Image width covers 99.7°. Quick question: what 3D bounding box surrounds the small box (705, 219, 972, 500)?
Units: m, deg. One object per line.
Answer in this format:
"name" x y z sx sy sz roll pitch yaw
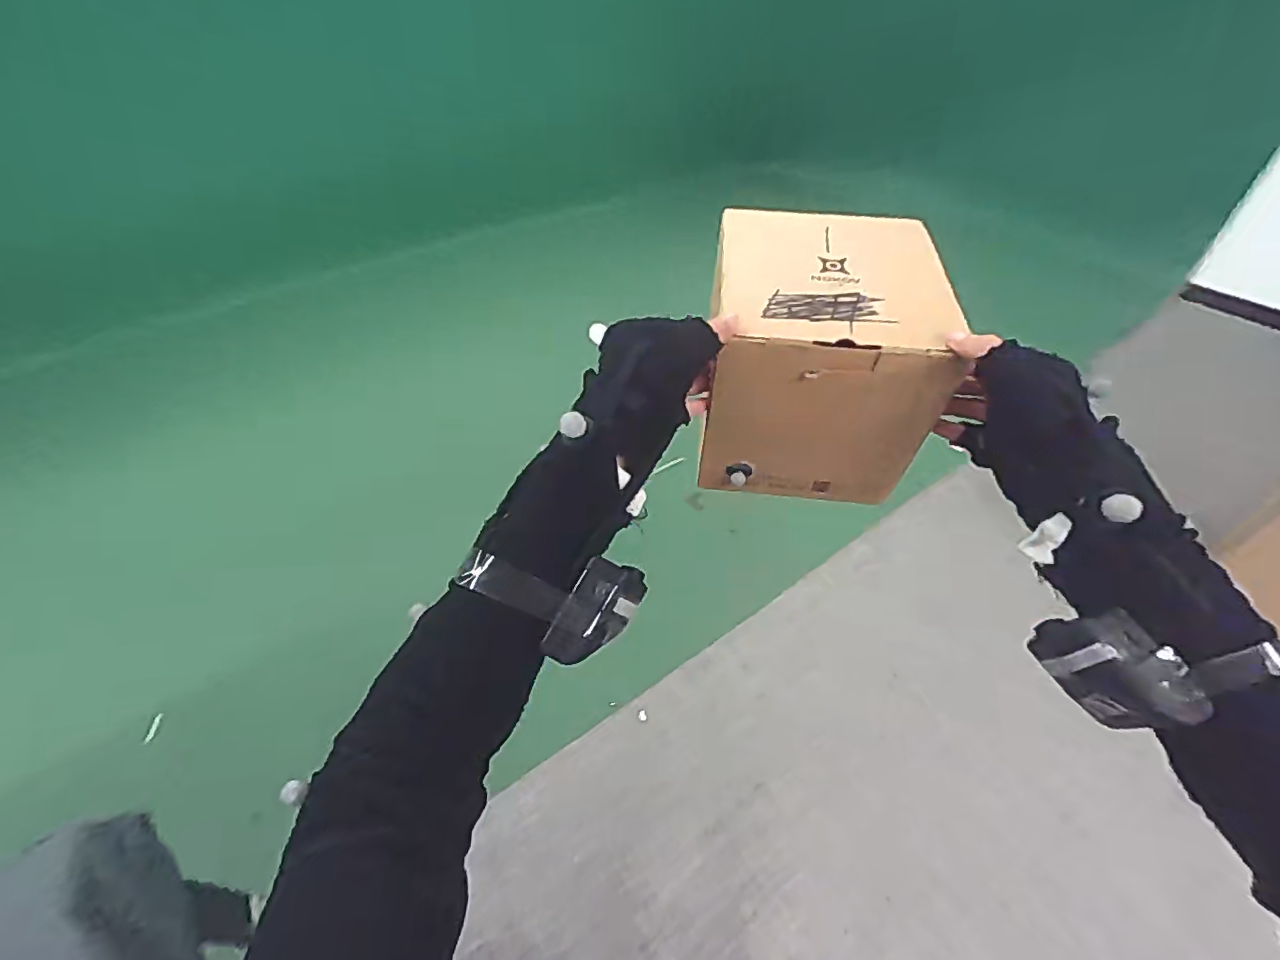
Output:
"small box" 0.148 -0.101 0.470 0.168 0.176 0.179 6 51 5
